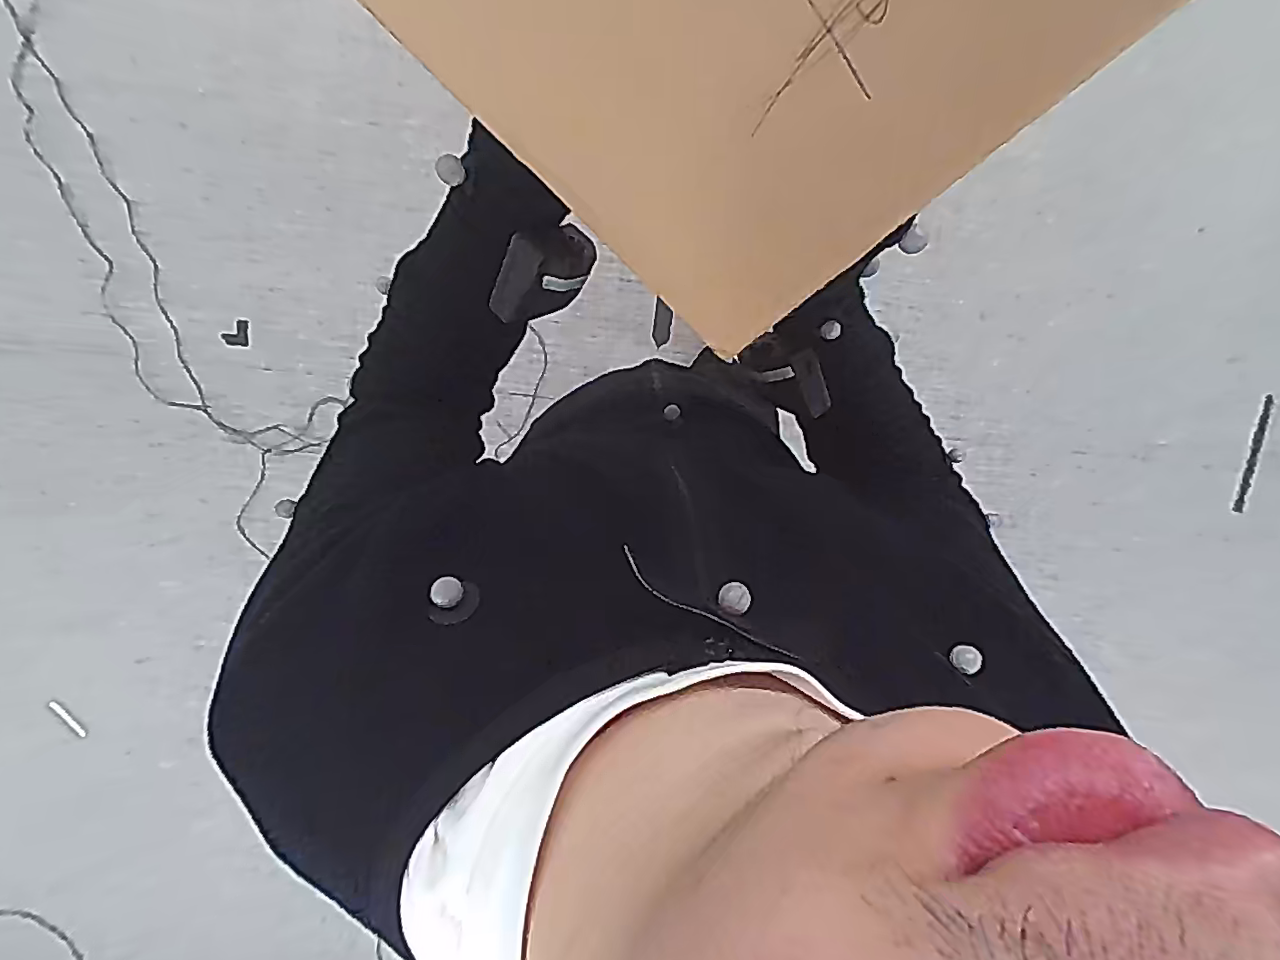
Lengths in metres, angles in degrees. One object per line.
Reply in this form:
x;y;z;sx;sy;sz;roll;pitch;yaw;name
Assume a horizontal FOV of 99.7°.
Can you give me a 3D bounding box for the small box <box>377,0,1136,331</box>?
0.041;-0.190;0.165;0.179;0.176;0.168;39;138;-16;small box
